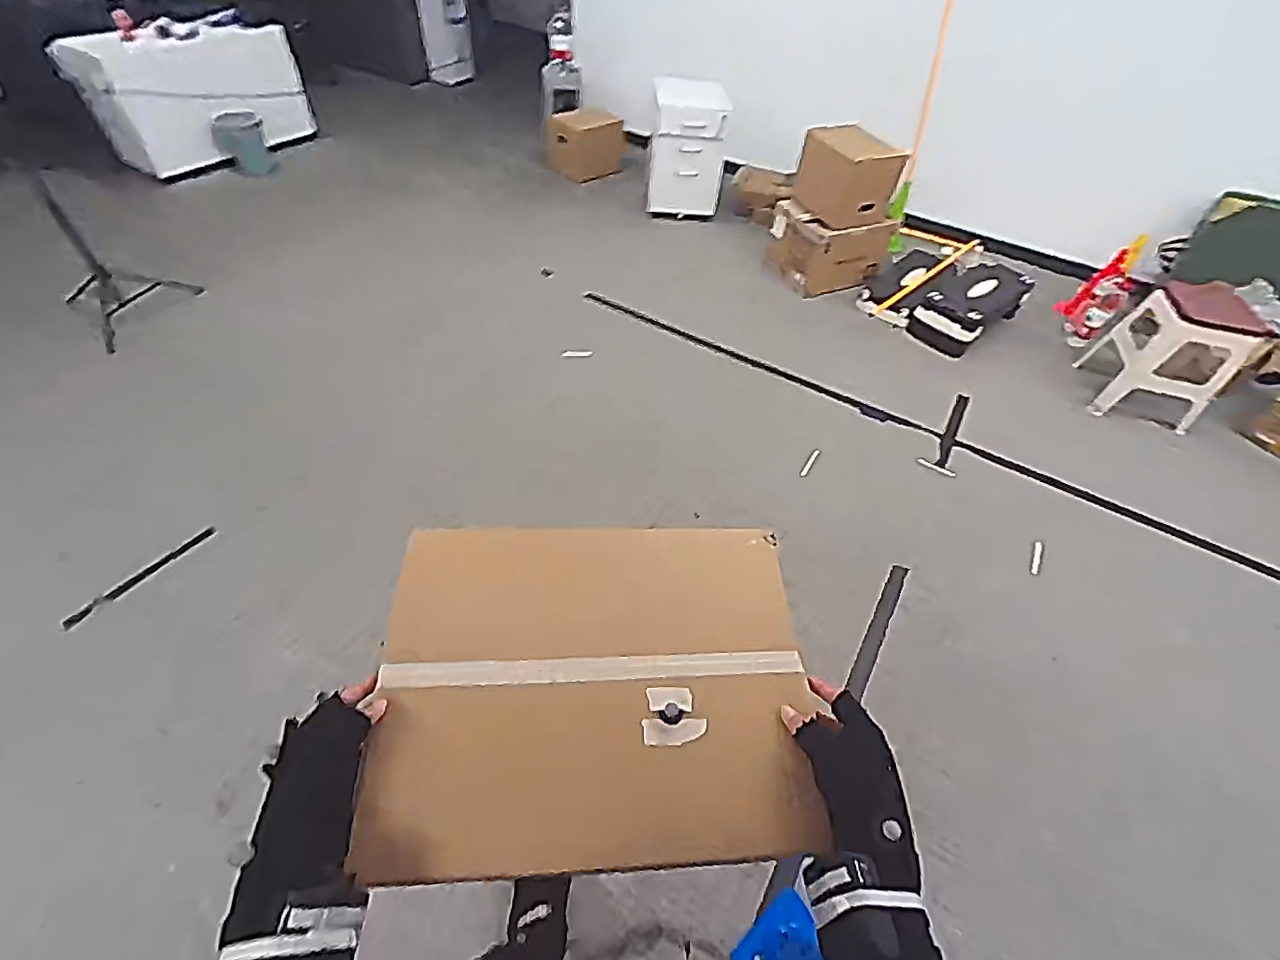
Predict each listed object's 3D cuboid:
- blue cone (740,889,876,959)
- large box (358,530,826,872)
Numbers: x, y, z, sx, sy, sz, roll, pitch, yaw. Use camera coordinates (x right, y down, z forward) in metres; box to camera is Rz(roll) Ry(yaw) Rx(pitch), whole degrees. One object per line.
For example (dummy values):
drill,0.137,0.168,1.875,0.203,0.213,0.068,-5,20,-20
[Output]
blue cone,0.335,0.885,0.989,0.192,0.380,0.193,-27,58,-26
large box,-0.054,0.271,0.658,0.408,0.320,0.320,1,54,-6
